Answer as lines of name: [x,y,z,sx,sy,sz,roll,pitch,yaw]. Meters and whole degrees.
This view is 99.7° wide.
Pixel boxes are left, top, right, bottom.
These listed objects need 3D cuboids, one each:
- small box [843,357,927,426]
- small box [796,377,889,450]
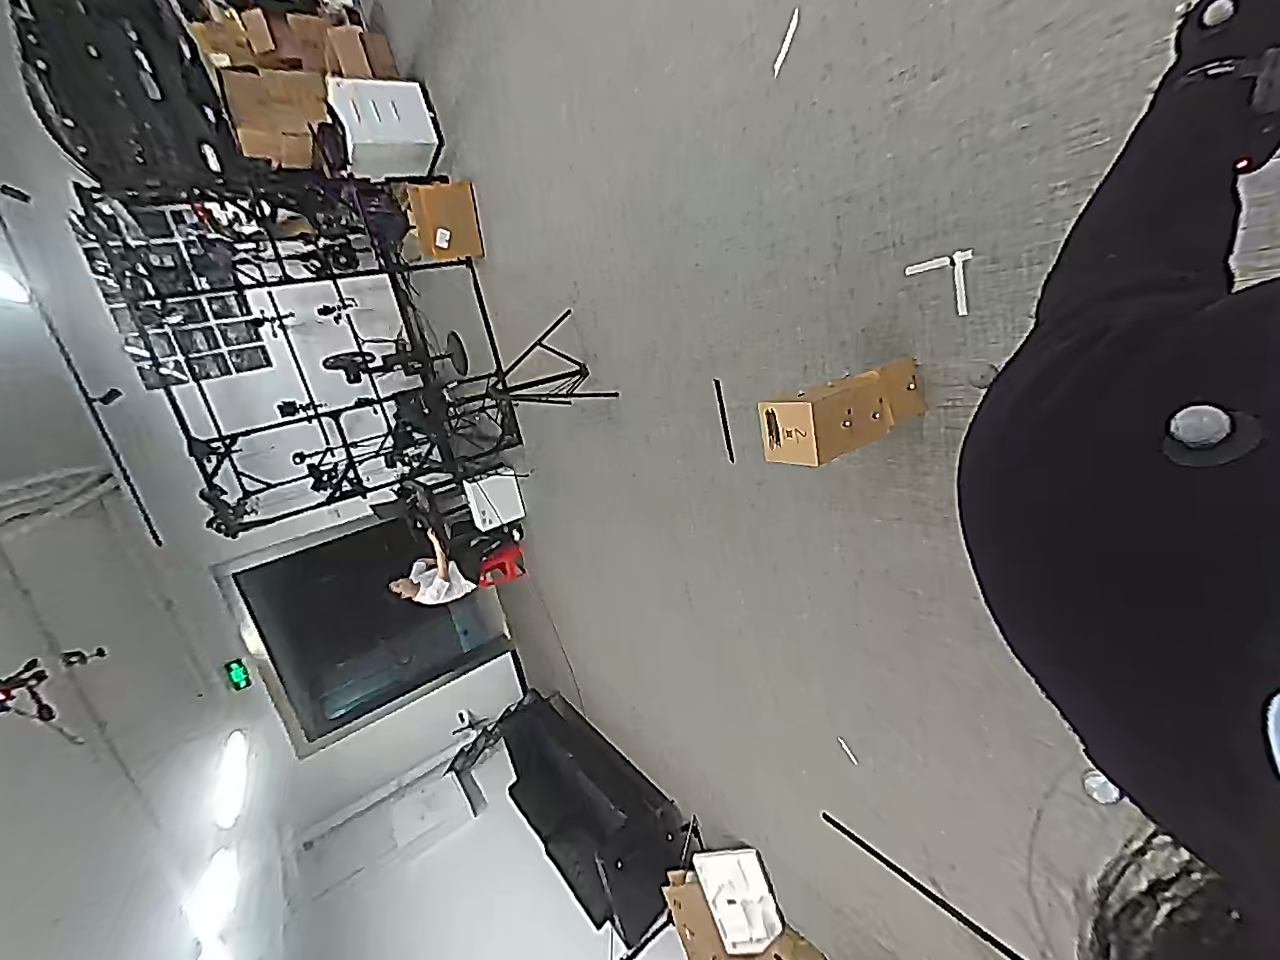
small box: [0.698,-0.248,1.585,0.179,0.176,0.168,-10,101,60]
small box: [0.566,-0.189,1.511,0.179,0.176,0.168,11,118,55]
